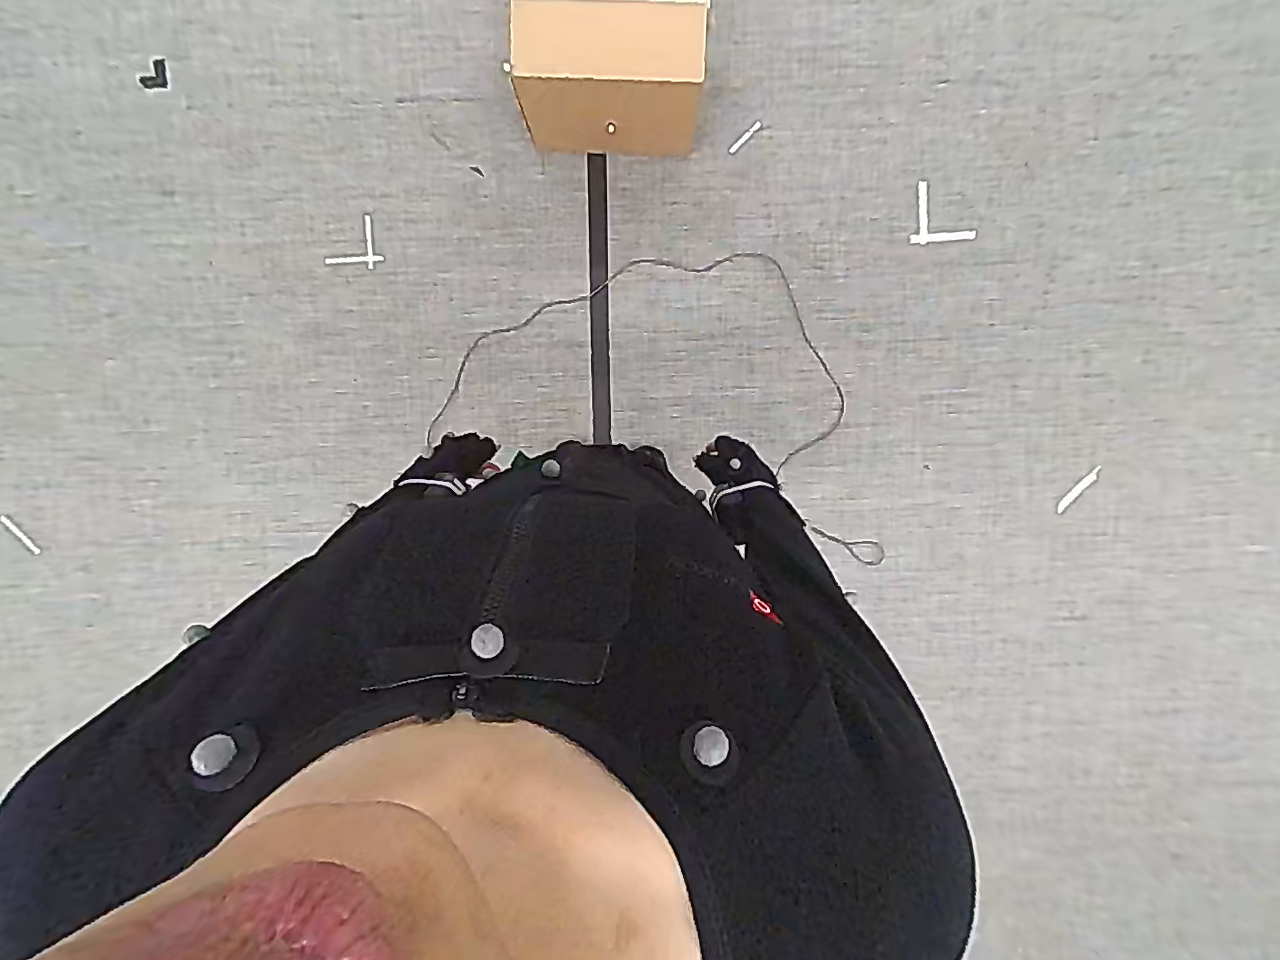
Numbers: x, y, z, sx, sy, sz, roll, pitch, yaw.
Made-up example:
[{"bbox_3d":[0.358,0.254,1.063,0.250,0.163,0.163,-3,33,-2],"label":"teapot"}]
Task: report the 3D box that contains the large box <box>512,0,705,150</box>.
[{"bbox_3d":[-0.063,-1.000,1.251,0.408,0.320,0.320,1,95,0],"label":"large box"}]
